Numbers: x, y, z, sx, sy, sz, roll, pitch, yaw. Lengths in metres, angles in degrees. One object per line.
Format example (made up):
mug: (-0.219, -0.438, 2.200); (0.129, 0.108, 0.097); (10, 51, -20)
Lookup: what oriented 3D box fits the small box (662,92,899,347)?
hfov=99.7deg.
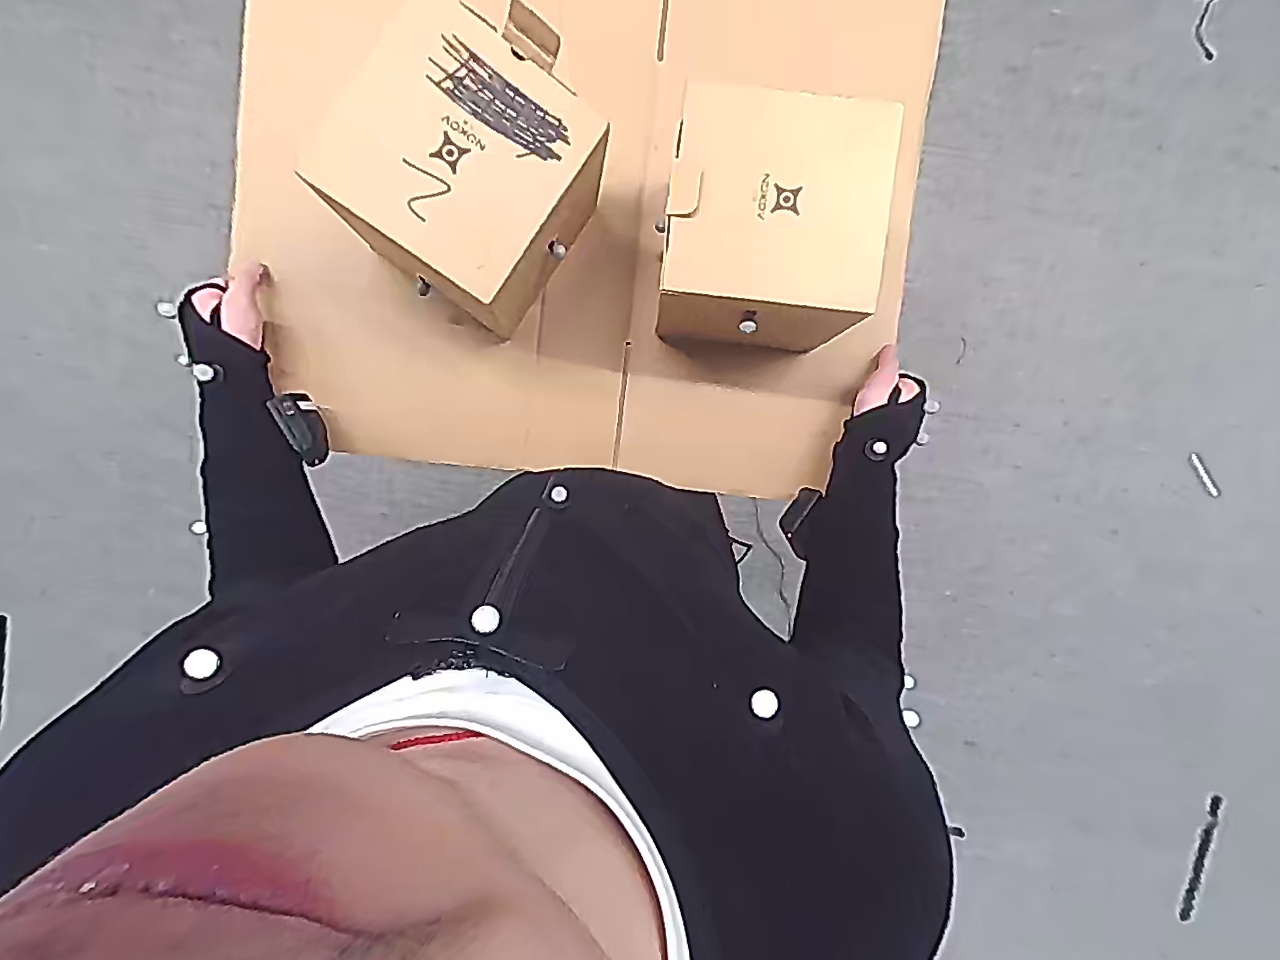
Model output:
small box: (0.118, -0.231, 0.526); (0.179, 0.176, 0.168); (6, 93, 1)
